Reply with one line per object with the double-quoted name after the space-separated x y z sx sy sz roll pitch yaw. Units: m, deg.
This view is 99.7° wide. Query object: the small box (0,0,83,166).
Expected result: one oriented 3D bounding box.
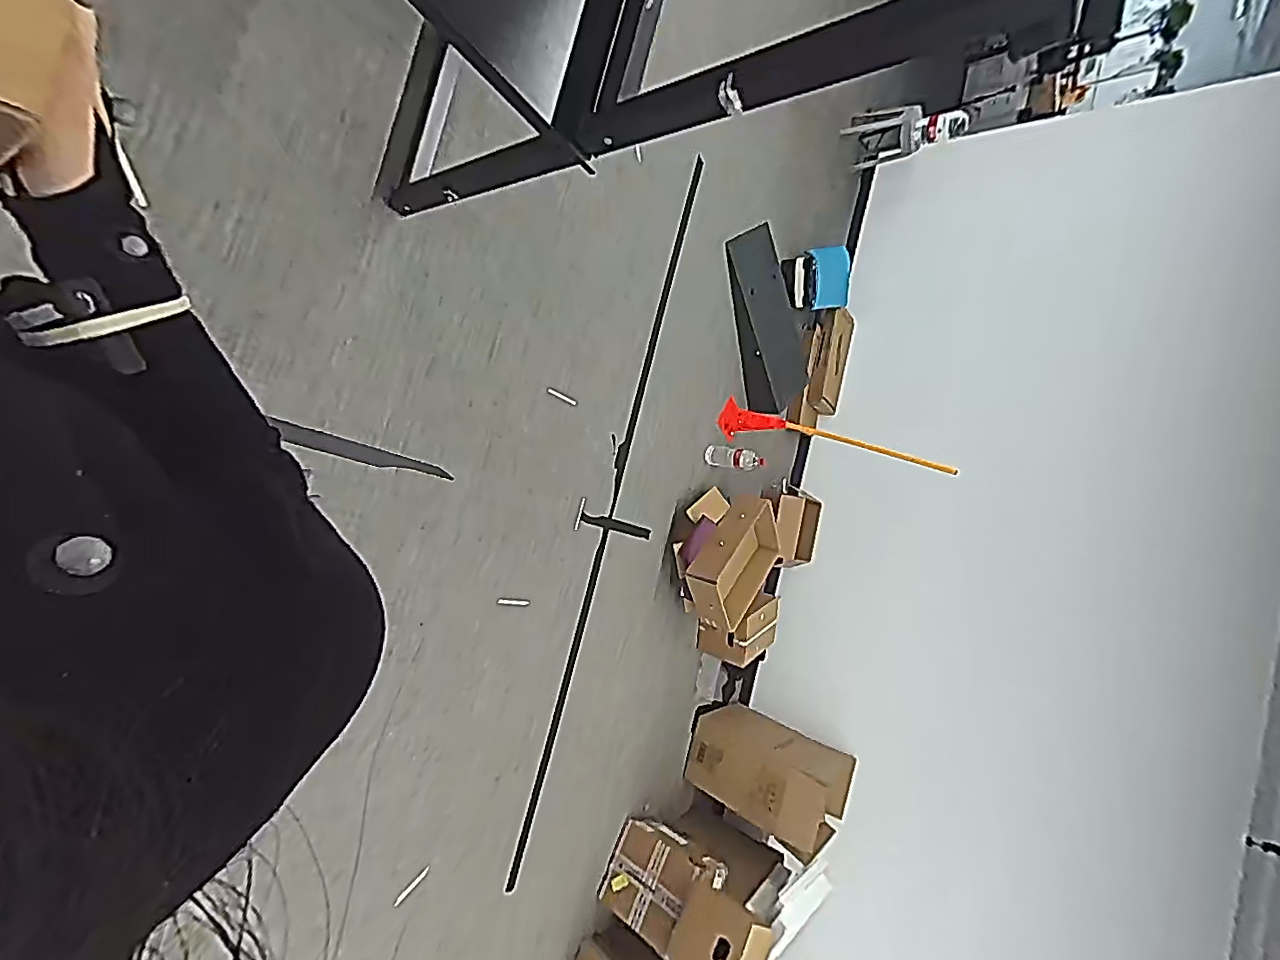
-0.327 -0.247 0.198 0.168 0.176 0.179 10 92 -56 "small box"
